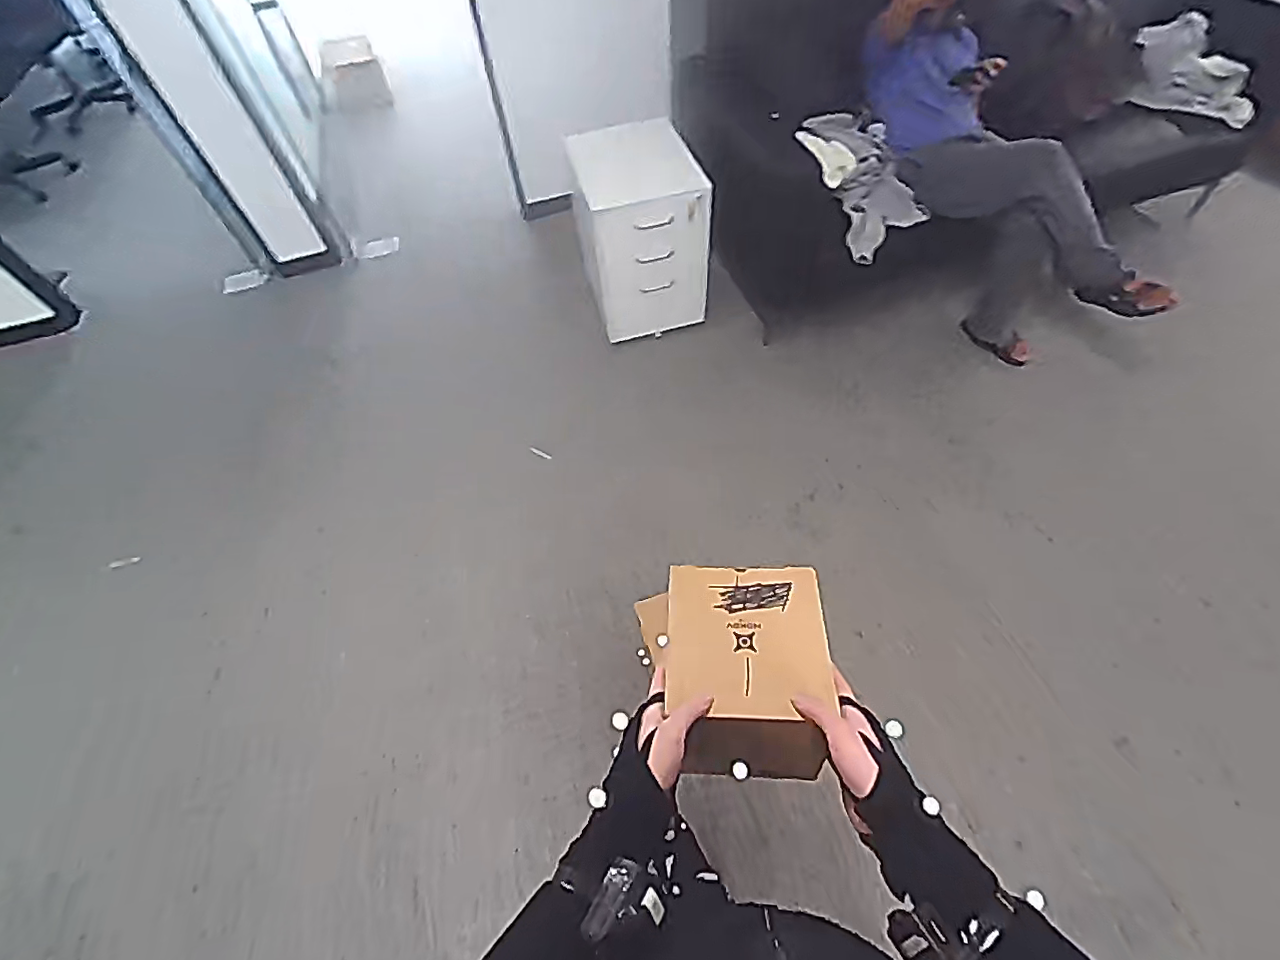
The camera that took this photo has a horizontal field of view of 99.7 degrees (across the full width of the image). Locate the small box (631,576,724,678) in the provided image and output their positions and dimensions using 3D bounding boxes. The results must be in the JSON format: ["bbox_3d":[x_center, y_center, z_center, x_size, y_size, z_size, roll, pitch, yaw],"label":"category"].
[{"bbox_3d":[0.088,0.361,1.310,0.179,0.176,0.168,-16,58,-9],"label":"small box"}]

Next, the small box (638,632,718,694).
[{"bbox_3d":[0.095,0.452,1.444,0.179,0.176,0.168,-15,56,-7],"label":"small box"}]
